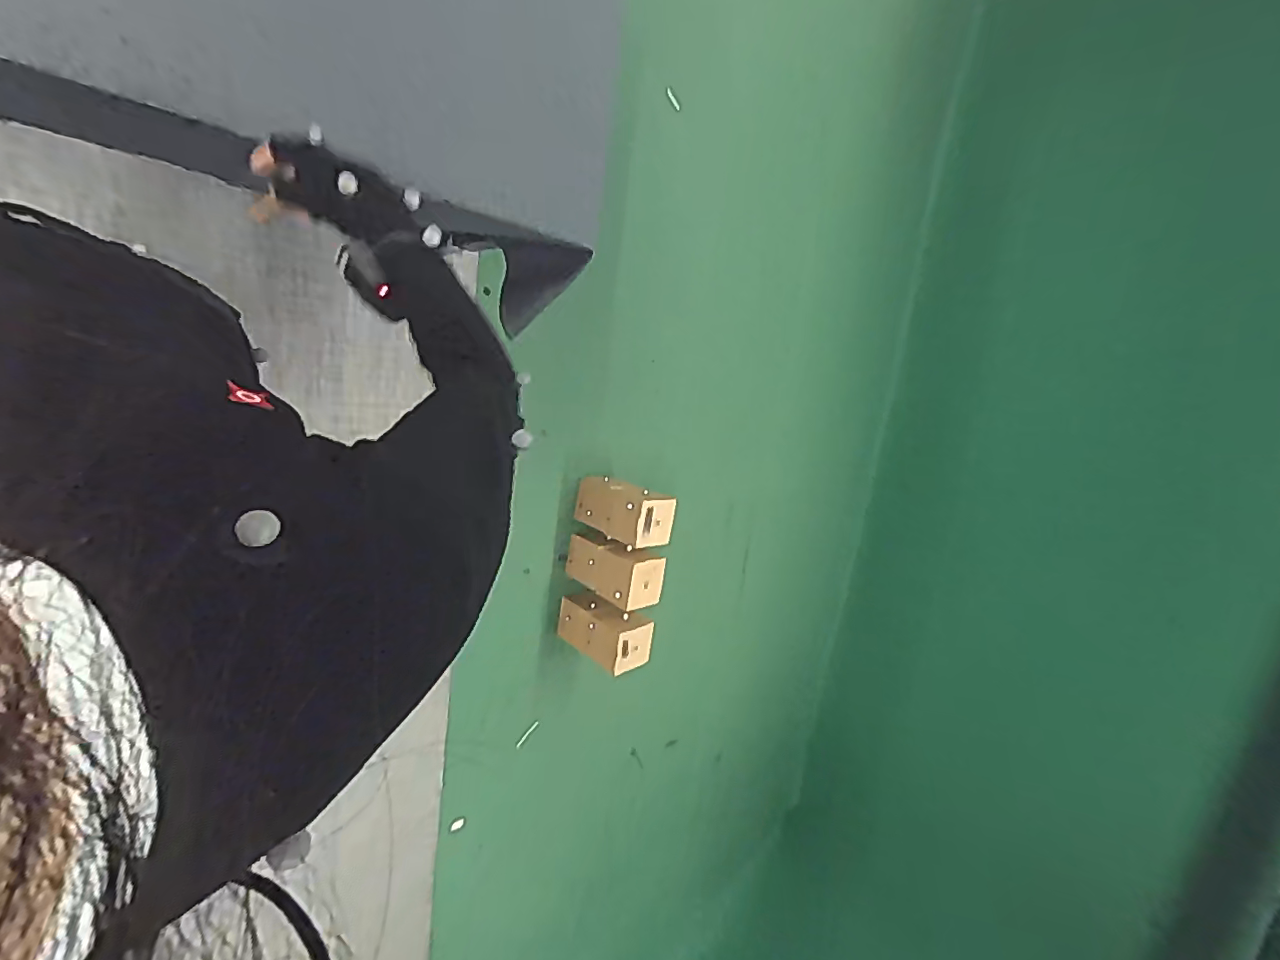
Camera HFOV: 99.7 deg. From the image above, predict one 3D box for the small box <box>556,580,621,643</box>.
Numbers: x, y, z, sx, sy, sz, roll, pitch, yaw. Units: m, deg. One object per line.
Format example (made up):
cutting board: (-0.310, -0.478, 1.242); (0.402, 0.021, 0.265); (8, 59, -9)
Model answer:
small box: (-0.201, 0.504, 2.100); (0.179, 0.176, 0.168); (-3, 107, -44)

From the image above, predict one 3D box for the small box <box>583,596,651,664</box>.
small box: (-0.088, 0.545, 1.988); (0.179, 0.176, 0.168); (-5, 108, -45)

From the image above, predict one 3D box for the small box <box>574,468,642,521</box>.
small box: (-0.124, 0.053, 2.013); (0.179, 0.176, 0.168); (3, 103, -46)
